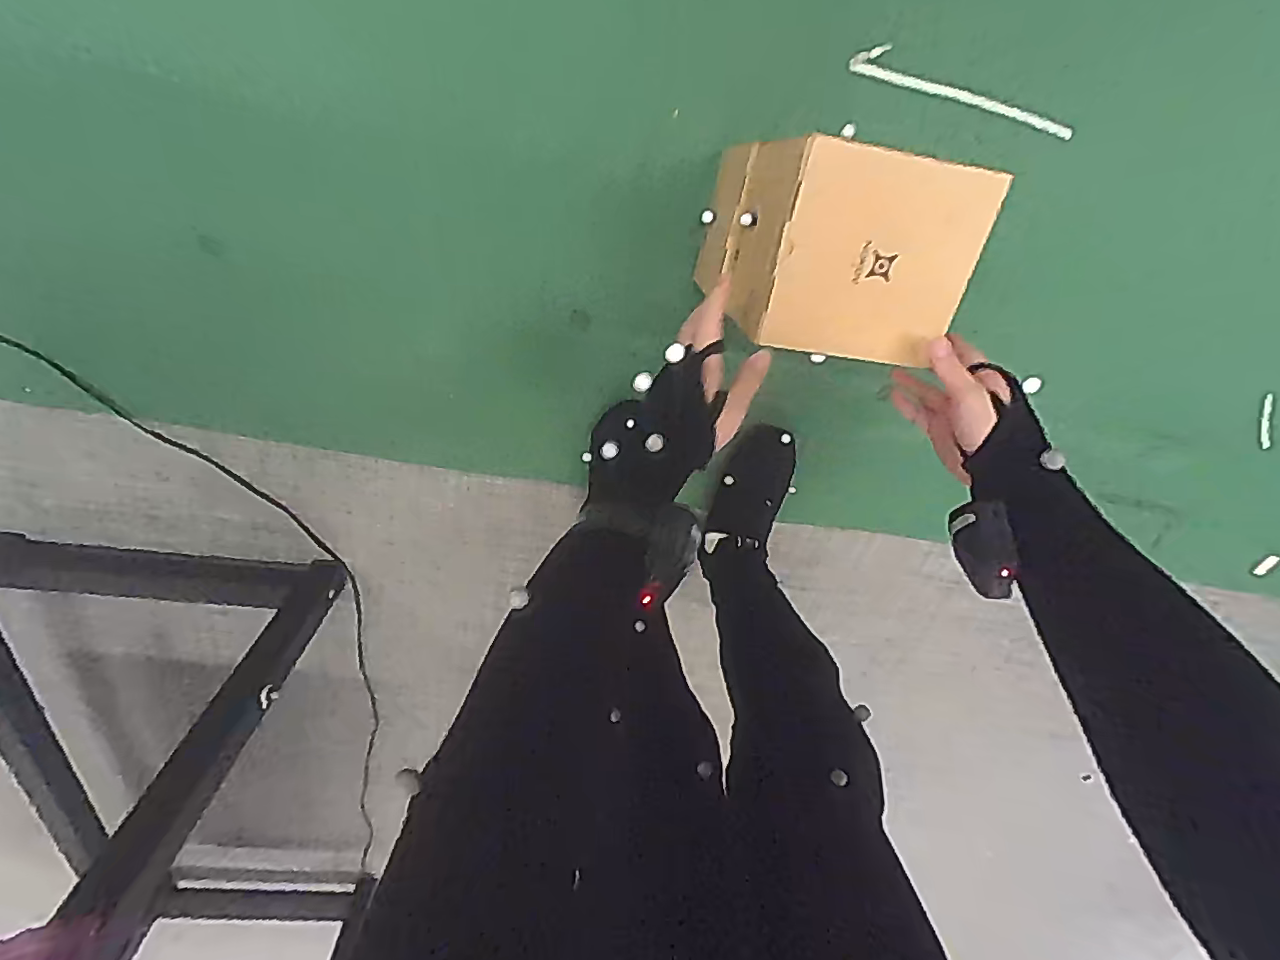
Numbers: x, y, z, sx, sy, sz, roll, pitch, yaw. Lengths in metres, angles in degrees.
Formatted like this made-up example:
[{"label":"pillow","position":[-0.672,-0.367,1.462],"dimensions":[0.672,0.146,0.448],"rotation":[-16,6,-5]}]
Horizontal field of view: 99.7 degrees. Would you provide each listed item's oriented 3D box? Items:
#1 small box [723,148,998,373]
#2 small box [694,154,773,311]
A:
[{"label":"small box","position":[0.195,-0.221,0.541],"dimensions":[0.179,0.176,0.168],"rotation":[7,118,-5]},{"label":"small box","position":[0.180,-0.299,0.683],"dimensions":[0.179,0.176,0.168],"rotation":[9,118,-8]}]
